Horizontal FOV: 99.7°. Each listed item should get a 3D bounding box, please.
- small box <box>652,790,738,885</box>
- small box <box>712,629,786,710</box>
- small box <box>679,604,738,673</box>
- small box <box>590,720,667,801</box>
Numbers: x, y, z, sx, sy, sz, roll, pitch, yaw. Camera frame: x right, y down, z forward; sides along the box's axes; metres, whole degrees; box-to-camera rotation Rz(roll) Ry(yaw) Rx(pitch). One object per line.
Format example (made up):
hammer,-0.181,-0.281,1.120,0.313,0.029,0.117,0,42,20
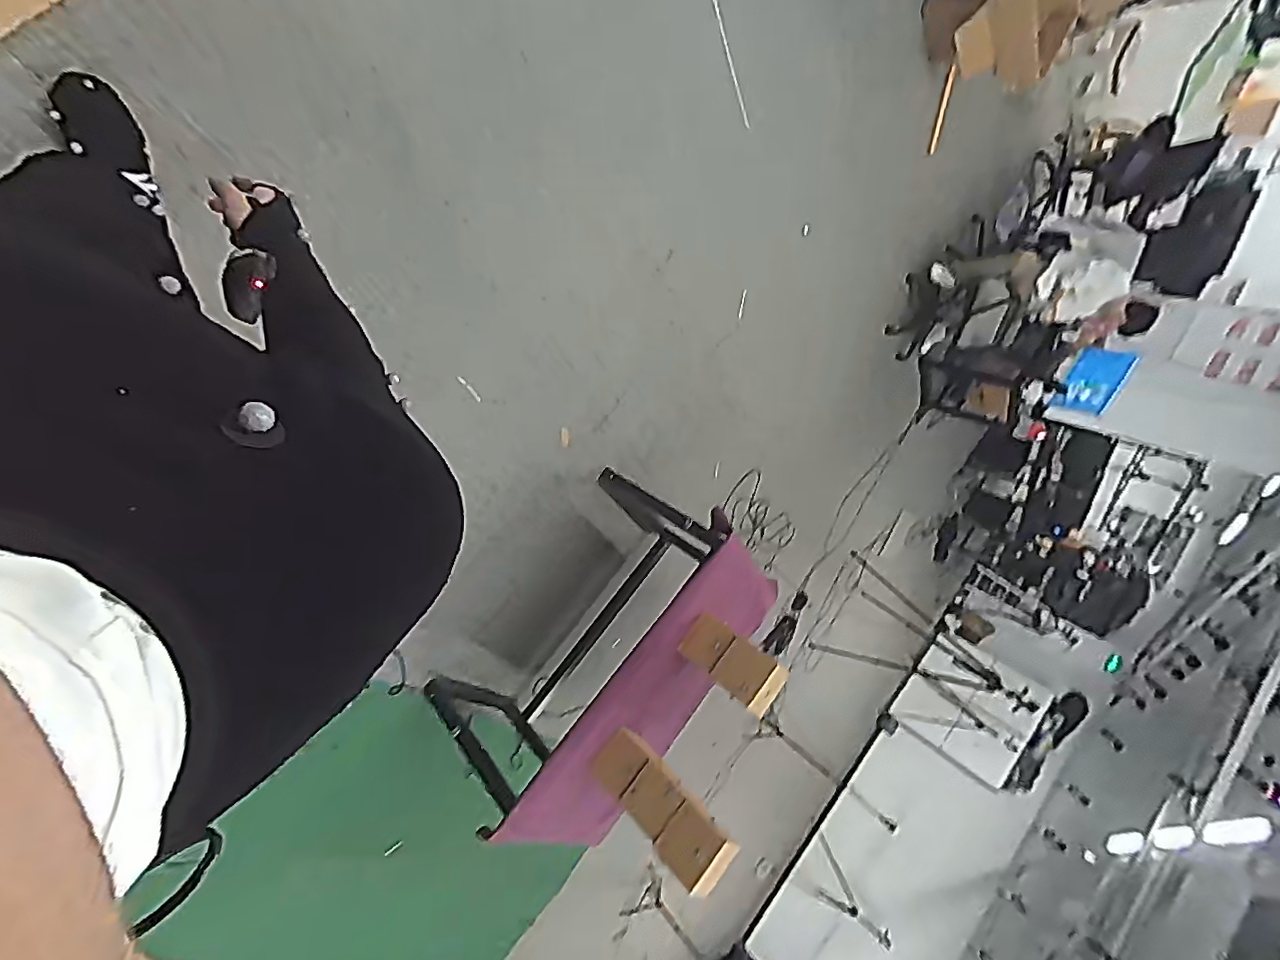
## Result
small box,0.168,1.089,1.653,0.179,0.176,0.168,-48,138,-14
small box,0.365,0.643,1.842,0.179,0.176,0.168,-51,140,-10
small box,0.263,0.584,1.959,0.179,0.176,0.168,-52,140,-9
small box,-0.042,0.969,1.874,0.179,0.176,0.168,-49,139,-12
